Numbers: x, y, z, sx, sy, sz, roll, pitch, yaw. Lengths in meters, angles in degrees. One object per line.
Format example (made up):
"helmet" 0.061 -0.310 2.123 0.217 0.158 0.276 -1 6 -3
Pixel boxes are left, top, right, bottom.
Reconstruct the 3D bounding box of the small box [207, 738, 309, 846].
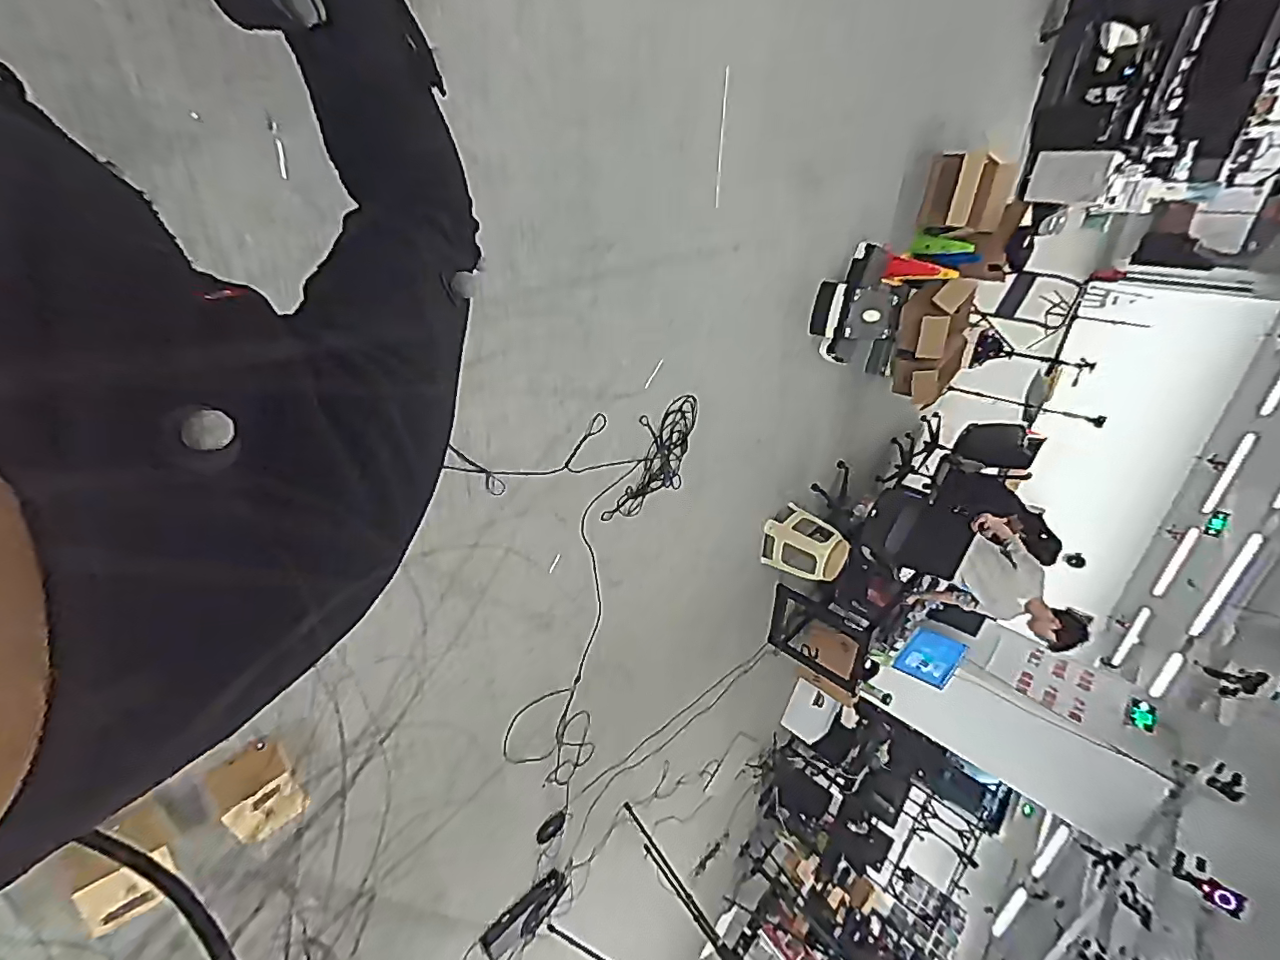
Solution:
"small box" -1.077 0.865 1.522 0.168 0.176 0.179 -30 131 -35
